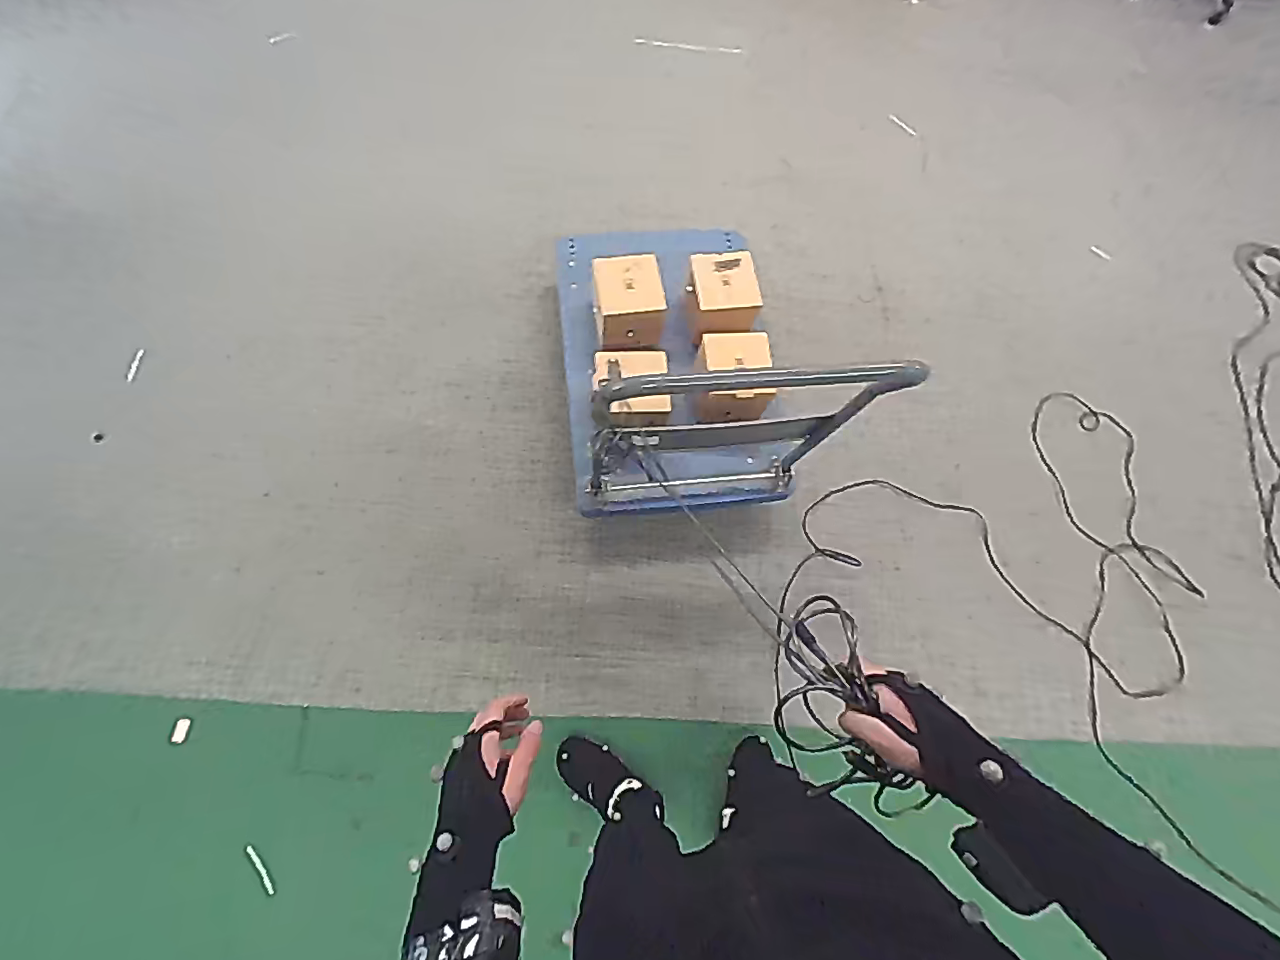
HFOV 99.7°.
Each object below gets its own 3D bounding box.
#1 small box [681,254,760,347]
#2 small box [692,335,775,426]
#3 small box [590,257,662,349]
[{"bbox_3d":[0.213,-0.490,1.485,0.168,0.176,0.179,-7,73,-6],"label":"small box"},{"bbox_3d":[0.235,-0.257,1.411,0.168,0.176,0.179,-3,73,-5],"label":"small box"},{"bbox_3d":[-0.041,-0.468,1.458,0.168,0.176,0.179,-8,72,-8],"label":"small box"}]
